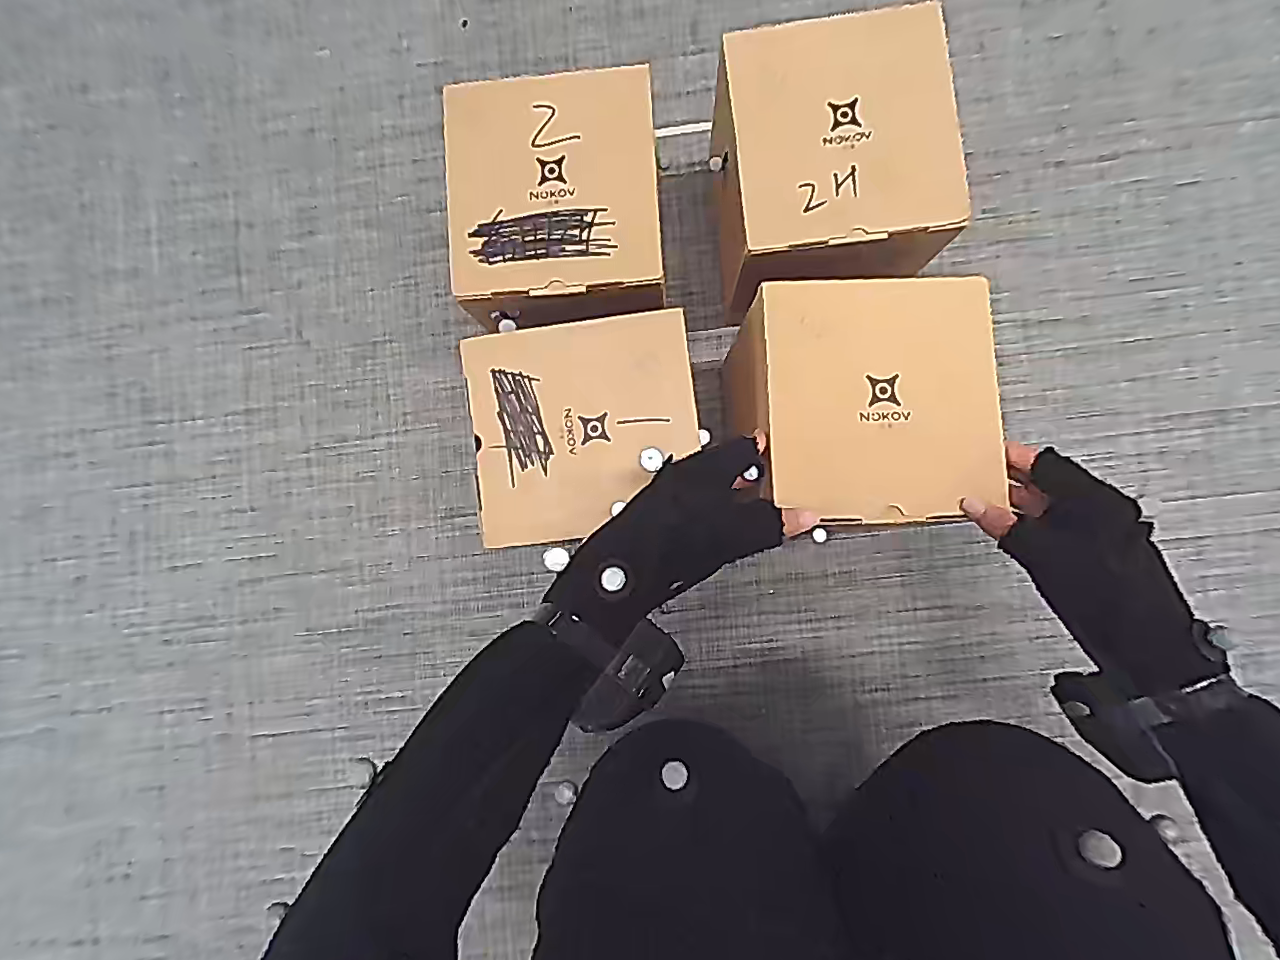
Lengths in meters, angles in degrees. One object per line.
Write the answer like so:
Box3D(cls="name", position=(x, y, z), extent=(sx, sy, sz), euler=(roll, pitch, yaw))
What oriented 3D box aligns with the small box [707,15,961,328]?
Box3D(cls="small box", position=(0.154, -0.257, 0.490), extent=(0.168, 0.176, 0.179), euler=(-6, 87, 4))
